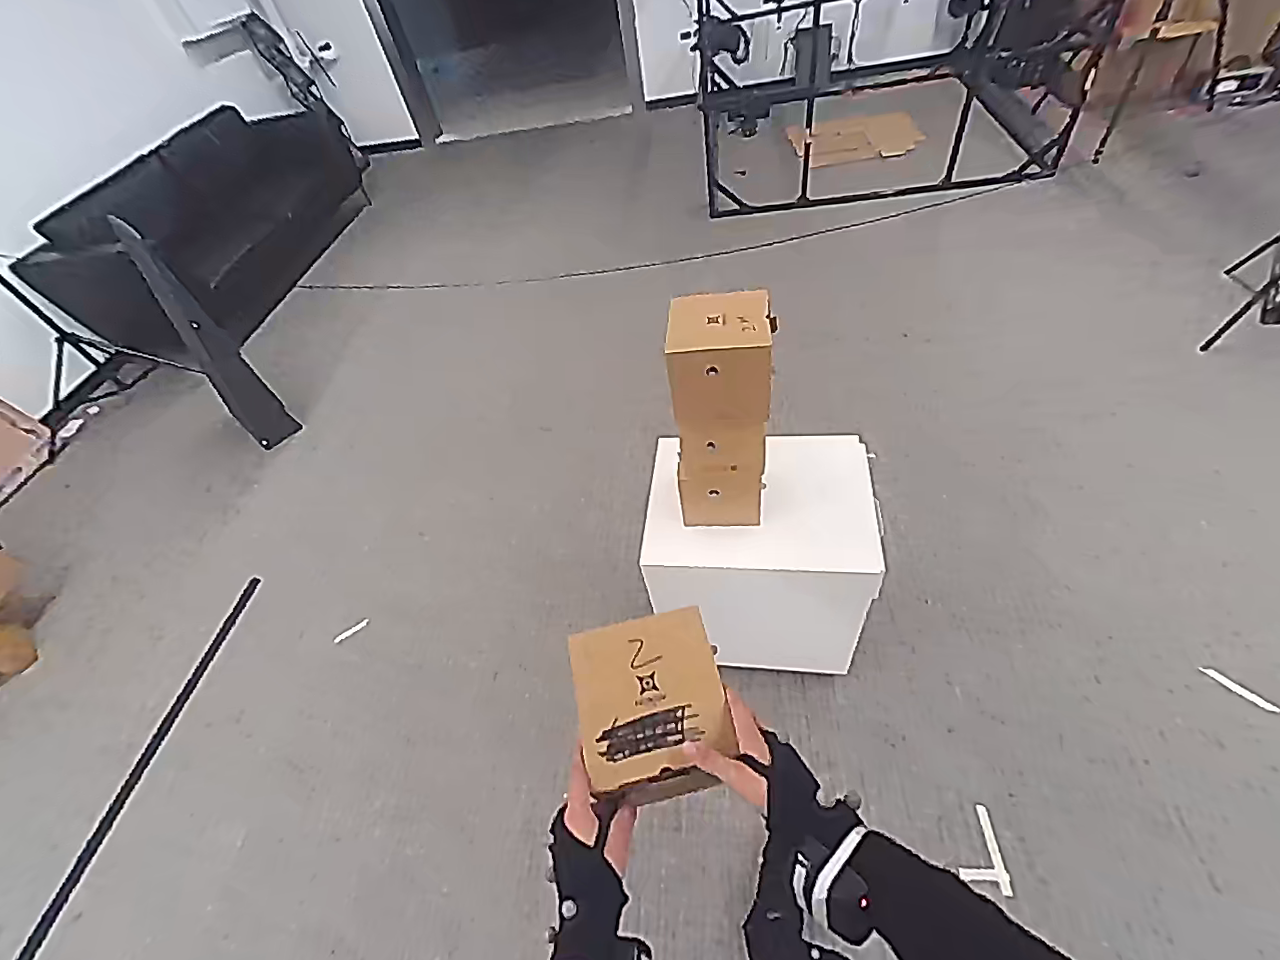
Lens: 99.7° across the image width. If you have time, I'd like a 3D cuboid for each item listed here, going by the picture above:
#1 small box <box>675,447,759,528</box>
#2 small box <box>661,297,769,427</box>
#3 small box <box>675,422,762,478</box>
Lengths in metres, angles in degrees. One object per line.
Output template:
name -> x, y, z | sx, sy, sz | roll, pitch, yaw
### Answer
small box -> 0.179, -0.002, 1.233 | 0.179, 0.176, 0.168 | -1, 50, 10
small box -> 0.142, -0.209, 0.982 | 0.179, 0.176, 0.168 | -1, 50, 11
small box -> 0.168, -0.116, 1.117 | 0.168, 0.176, 0.179 | -1, 49, 11
